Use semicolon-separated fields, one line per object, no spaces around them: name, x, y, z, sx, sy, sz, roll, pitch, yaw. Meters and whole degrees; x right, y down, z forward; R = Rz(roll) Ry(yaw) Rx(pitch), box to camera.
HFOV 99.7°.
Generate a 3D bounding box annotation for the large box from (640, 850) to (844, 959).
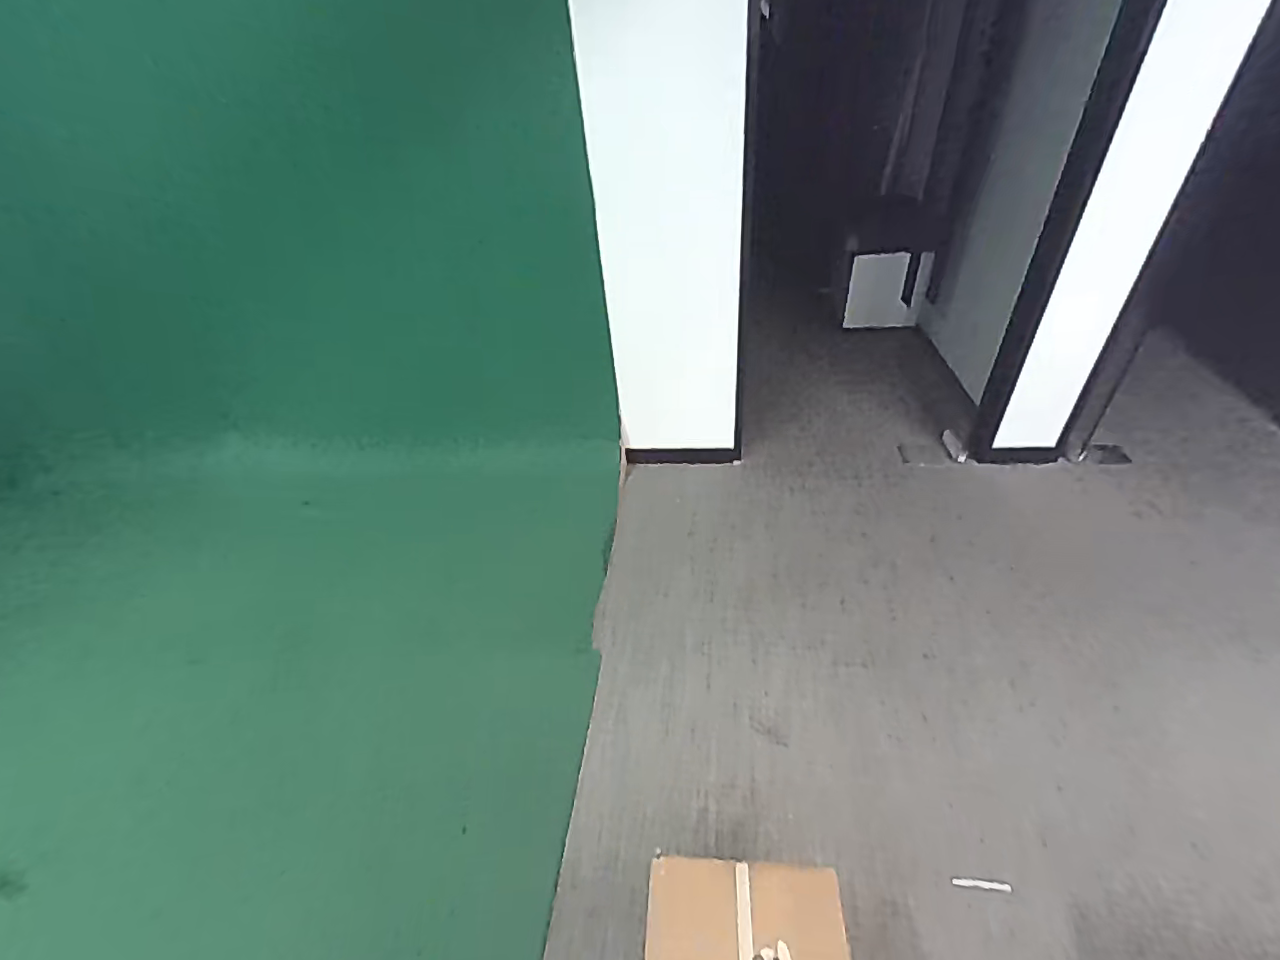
large box;0.164;0.888;0.868;0.320;0.320;0.408;0;38;8
